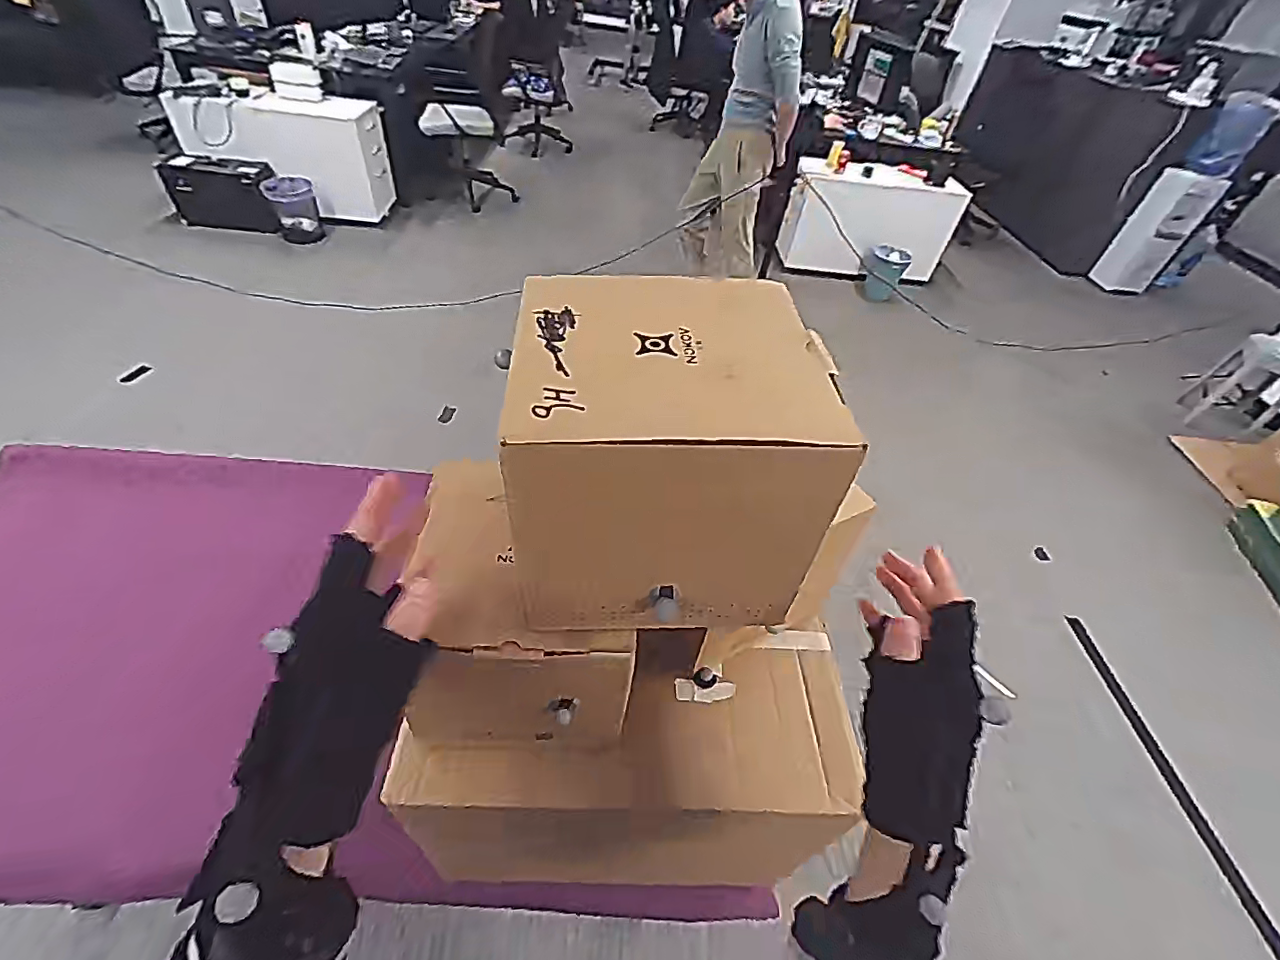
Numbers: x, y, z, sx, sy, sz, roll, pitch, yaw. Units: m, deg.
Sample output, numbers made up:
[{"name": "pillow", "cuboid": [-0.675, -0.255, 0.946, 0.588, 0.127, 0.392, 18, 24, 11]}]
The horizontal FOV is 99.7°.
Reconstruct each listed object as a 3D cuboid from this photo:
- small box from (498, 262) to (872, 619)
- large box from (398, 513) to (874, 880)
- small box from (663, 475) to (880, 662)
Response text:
[{"name": "small box", "cuboid": [0.013, -0.022, 0.355, 0.179, 0.176, 0.168, 0, 45, -6]}, {"name": "large box", "cuboid": [-0.016, 0.260, 0.649, 0.408, 0.320, 0.320, 3, 46, -5]}, {"name": "small box", "cuboid": [0.087, 0.042, 0.533, 0.168, 0.176, 0.179, -18, 49, -23]}]
